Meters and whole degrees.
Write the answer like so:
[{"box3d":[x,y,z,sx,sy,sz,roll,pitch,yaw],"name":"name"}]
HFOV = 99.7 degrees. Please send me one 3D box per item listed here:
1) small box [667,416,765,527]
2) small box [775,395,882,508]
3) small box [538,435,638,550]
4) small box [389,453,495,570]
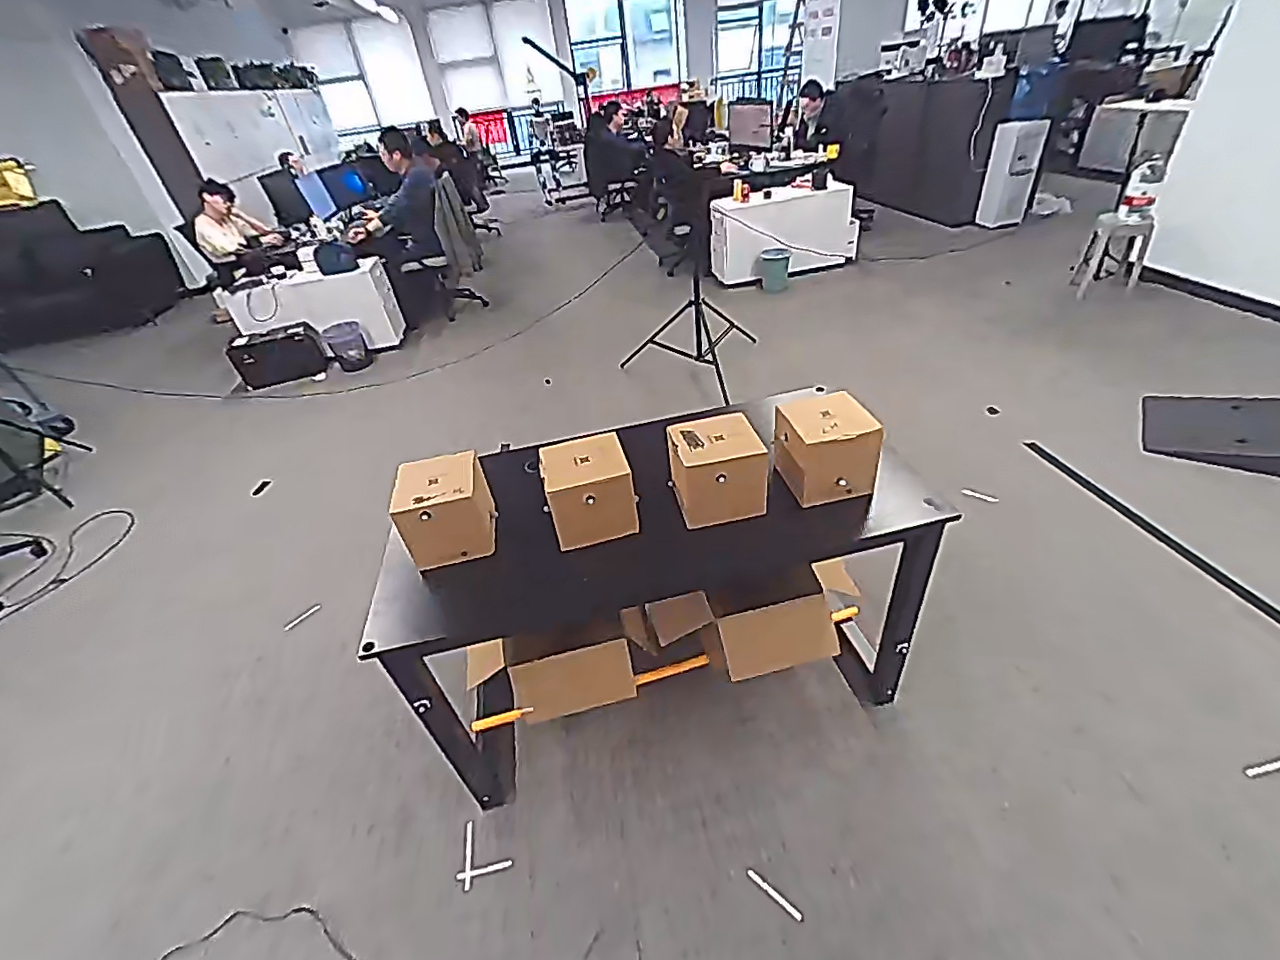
[{"box3d":[0.164,-0.015,1.177,0.179,0.176,0.168,-10,37,-3],"name":"small box"},{"box3d":[0.404,-0.064,1.193,0.168,0.176,0.179,-12,37,-3],"name":"small box"},{"box3d":[-0.112,0.029,1.176,0.179,0.176,0.168,-13,38,-8],"name":"small box"},{"box3d":[-0.421,0.068,1.179,0.168,0.176,0.179,-12,37,-6],"name":"small box"}]
